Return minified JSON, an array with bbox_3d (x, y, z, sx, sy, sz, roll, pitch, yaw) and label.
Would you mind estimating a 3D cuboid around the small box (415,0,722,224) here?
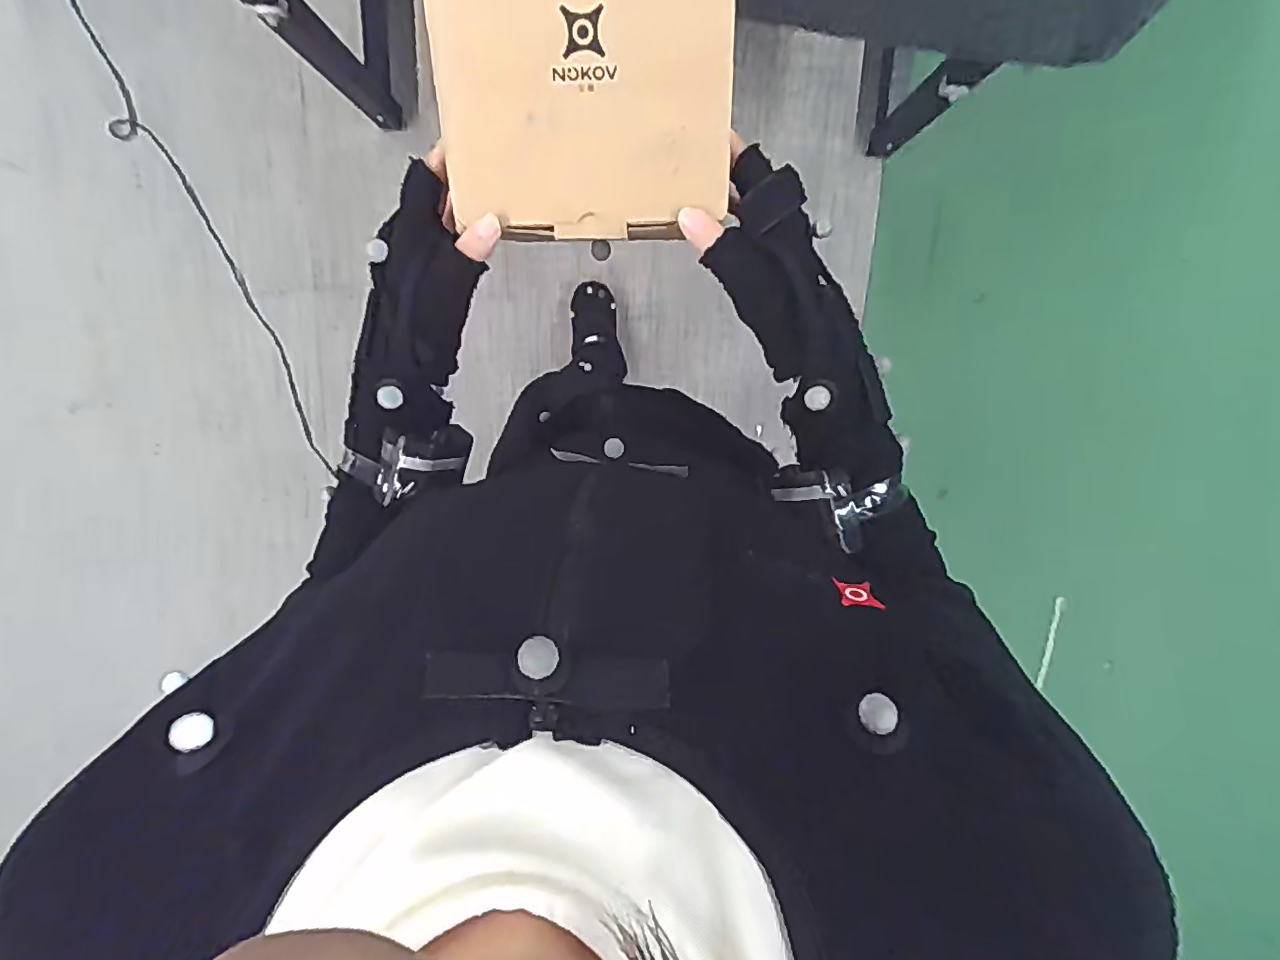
[{"bbox_3d":[-0.034,-0.271,0.364,0.168,0.176,0.179,-2,113,2],"label":"small box"}]
